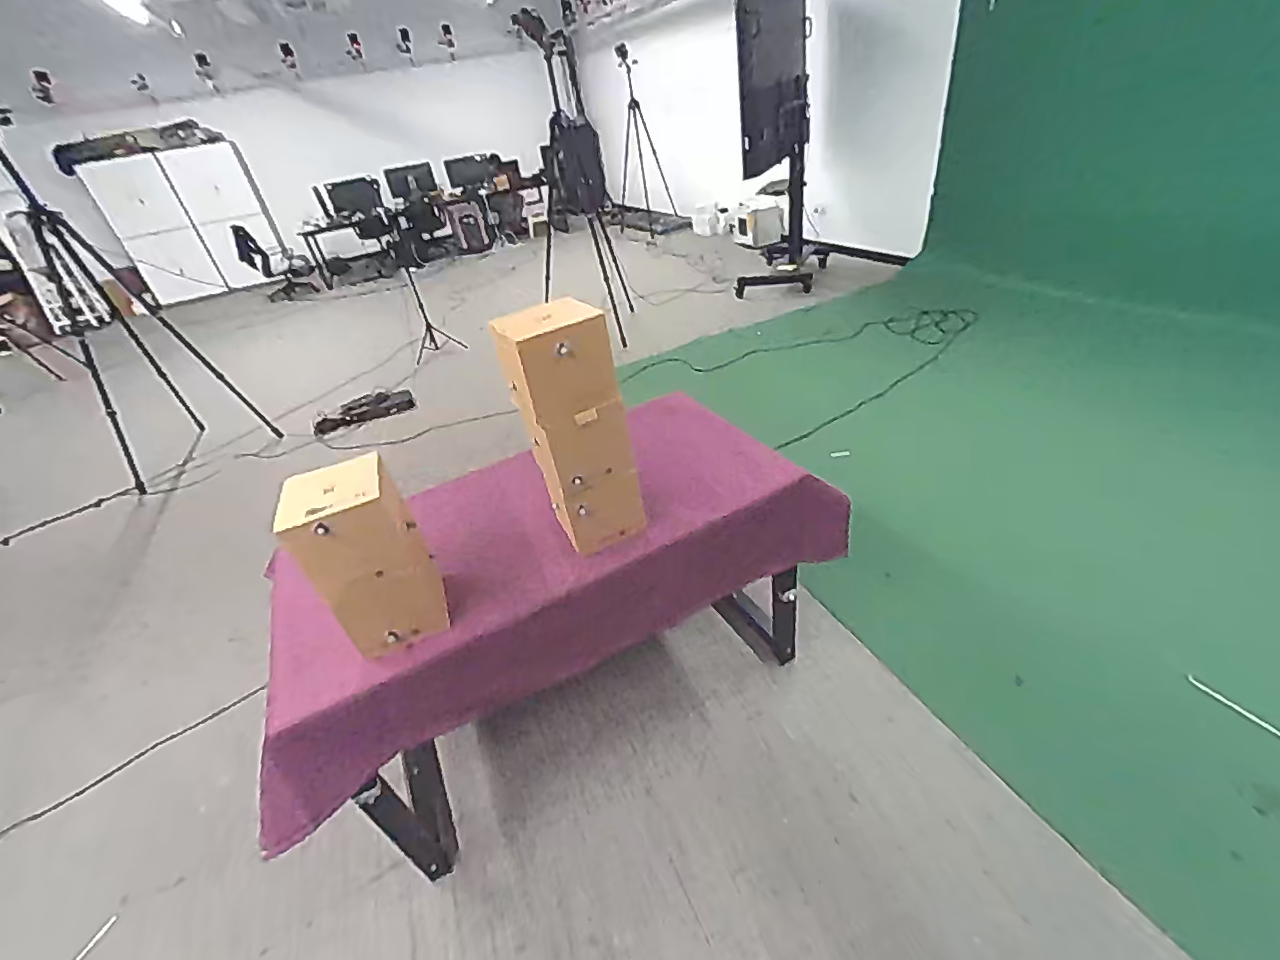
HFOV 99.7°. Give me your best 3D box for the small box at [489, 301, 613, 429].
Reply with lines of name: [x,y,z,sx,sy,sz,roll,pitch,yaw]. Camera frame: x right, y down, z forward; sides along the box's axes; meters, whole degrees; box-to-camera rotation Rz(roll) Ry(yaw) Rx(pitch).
small box: [-0.164,-0.224,1.041,0.179,0.176,0.168,-26,37,-19]

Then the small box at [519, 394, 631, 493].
small box: [-0.134,-0.092,1.132,0.168,0.176,0.179,-24,35,-19]

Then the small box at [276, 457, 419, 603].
small box: [-0.517,0.088,0.979,0.168,0.176,0.179,-22,35,-13]

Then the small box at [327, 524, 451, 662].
small box: [-0.491,0.222,1.073,0.168,0.176,0.179,-21,36,-14]
